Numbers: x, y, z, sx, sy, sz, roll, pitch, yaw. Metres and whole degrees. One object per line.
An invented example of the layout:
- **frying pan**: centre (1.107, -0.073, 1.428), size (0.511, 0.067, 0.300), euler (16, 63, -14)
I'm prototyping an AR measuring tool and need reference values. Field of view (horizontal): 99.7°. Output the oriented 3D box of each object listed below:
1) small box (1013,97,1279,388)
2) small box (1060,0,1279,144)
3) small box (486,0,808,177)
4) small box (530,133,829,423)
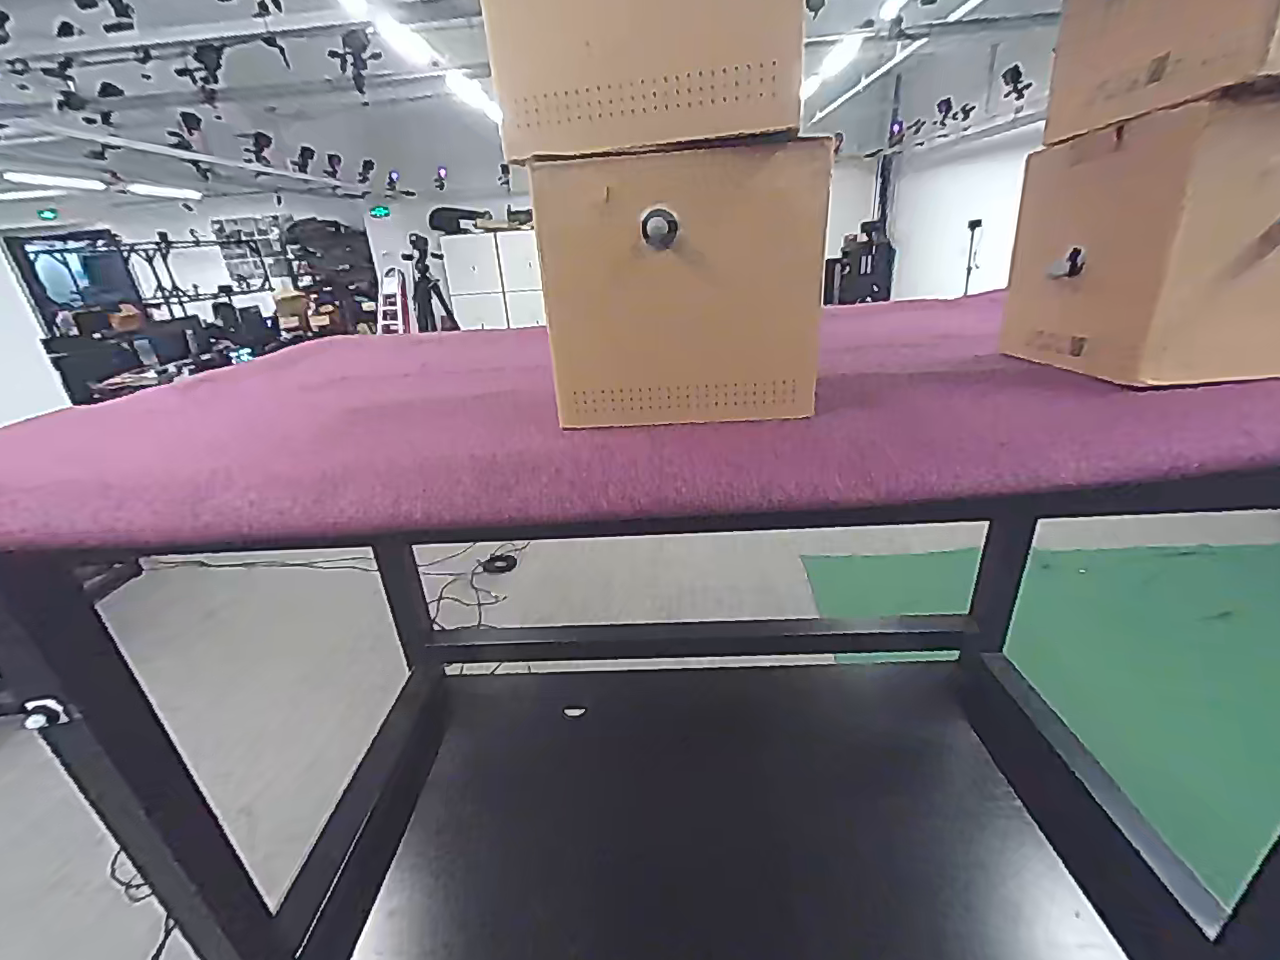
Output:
- **small box**: centre (0.410, -0.168, 0.398), size (0.179, 0.176, 0.168), euler (-4, 22, 4)
- **small box**: centre (0.396, -0.314, 0.326), size (0.179, 0.176, 0.168), euler (-3, 21, 4)
- **small box**: centre (0.016, -0.293, 0.346), size (0.179, 0.176, 0.168), euler (1, 24, 14)
- **small box**: centre (0.031, -0.145, 0.411), size (0.179, 0.176, 0.168), euler (-1, 24, 4)
